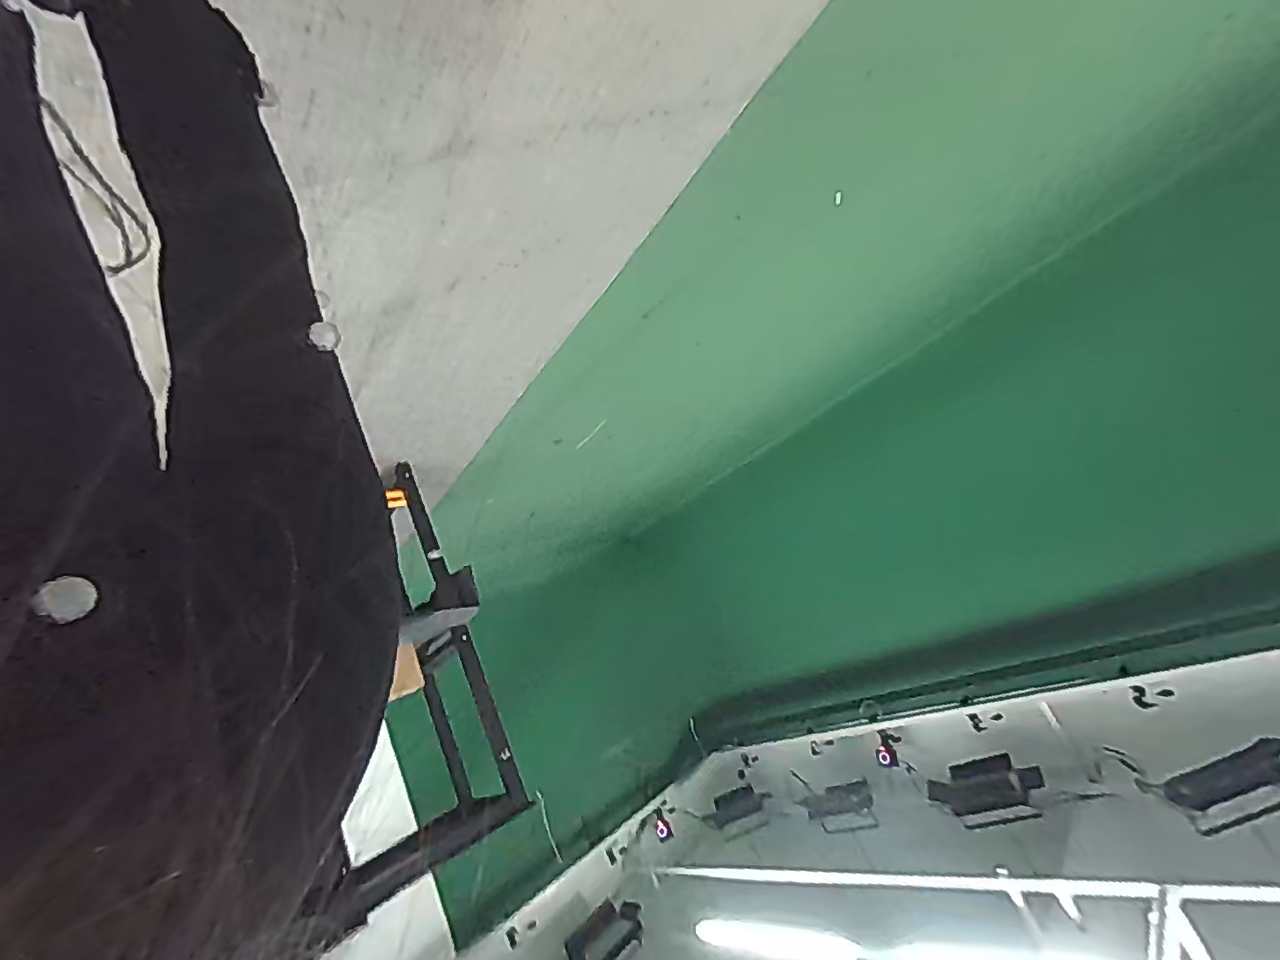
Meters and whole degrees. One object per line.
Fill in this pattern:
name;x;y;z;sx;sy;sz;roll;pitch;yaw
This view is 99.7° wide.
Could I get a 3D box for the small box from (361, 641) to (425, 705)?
small box;-0.953;0.738;2.075;0.168;0.176;0.179;-13;162;-42
